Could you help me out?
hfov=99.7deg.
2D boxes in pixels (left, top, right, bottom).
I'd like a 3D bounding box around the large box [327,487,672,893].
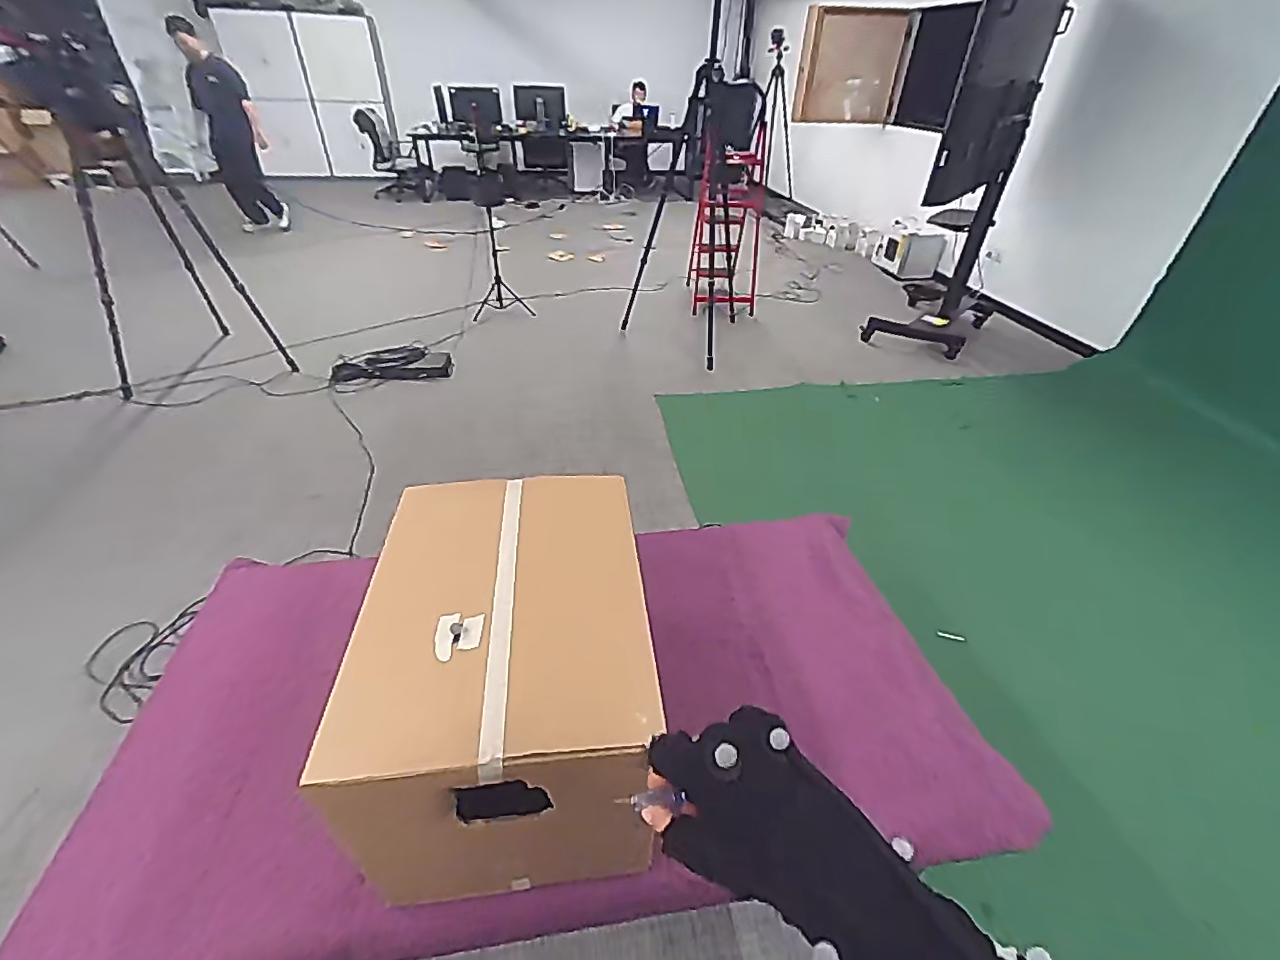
[{"bbox_3d":[-0.155,0.252,0.727,0.320,0.320,0.408,-3,38,-7],"label":"large box"}]
